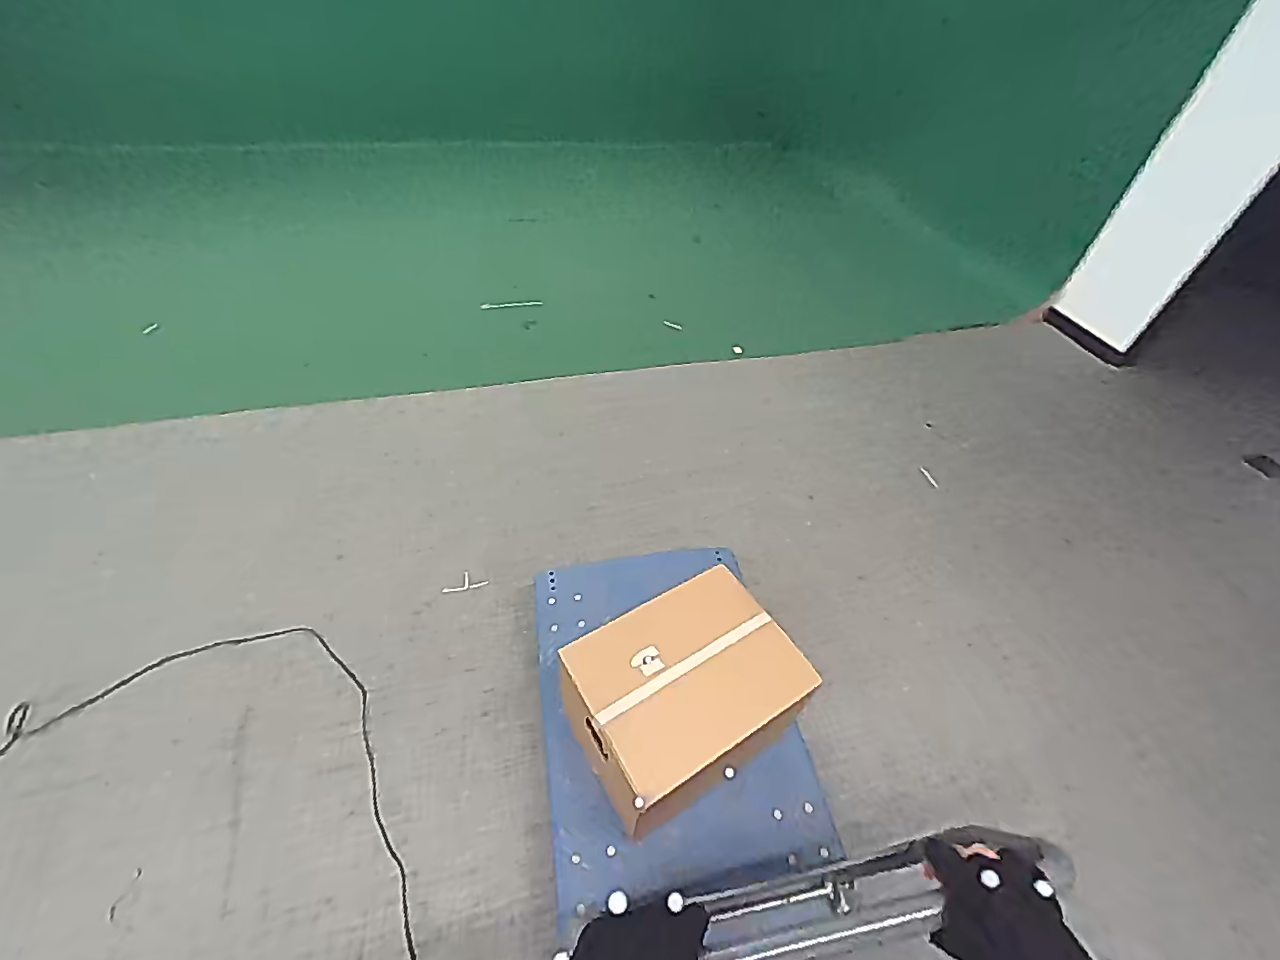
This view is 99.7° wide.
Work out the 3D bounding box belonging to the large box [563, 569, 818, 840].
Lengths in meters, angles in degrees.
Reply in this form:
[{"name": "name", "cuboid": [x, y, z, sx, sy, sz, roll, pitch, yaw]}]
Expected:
[{"name": "large box", "cuboid": [0.090, 0.463, 1.139, 0.408, 0.320, 0.320, -24, 53, -23]}]
